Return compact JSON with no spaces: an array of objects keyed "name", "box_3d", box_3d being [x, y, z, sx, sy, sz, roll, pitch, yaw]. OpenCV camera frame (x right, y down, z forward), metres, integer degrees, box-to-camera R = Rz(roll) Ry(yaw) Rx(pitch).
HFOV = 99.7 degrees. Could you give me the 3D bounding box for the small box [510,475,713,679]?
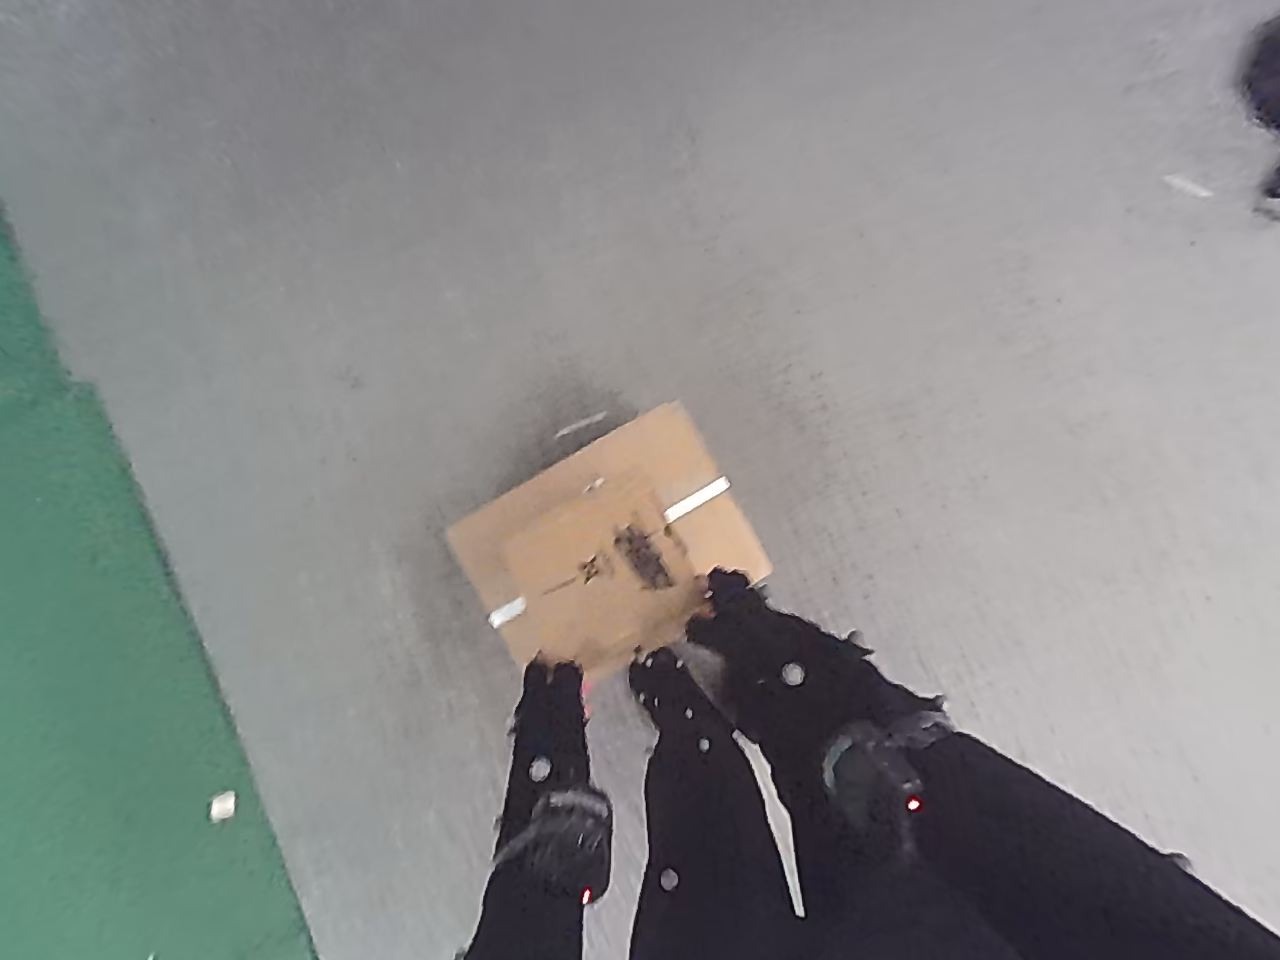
[{"name":"small box","box_3d":[-0.024,0.123,0.651,0.179,0.176,0.168,-27,68,1]}]
